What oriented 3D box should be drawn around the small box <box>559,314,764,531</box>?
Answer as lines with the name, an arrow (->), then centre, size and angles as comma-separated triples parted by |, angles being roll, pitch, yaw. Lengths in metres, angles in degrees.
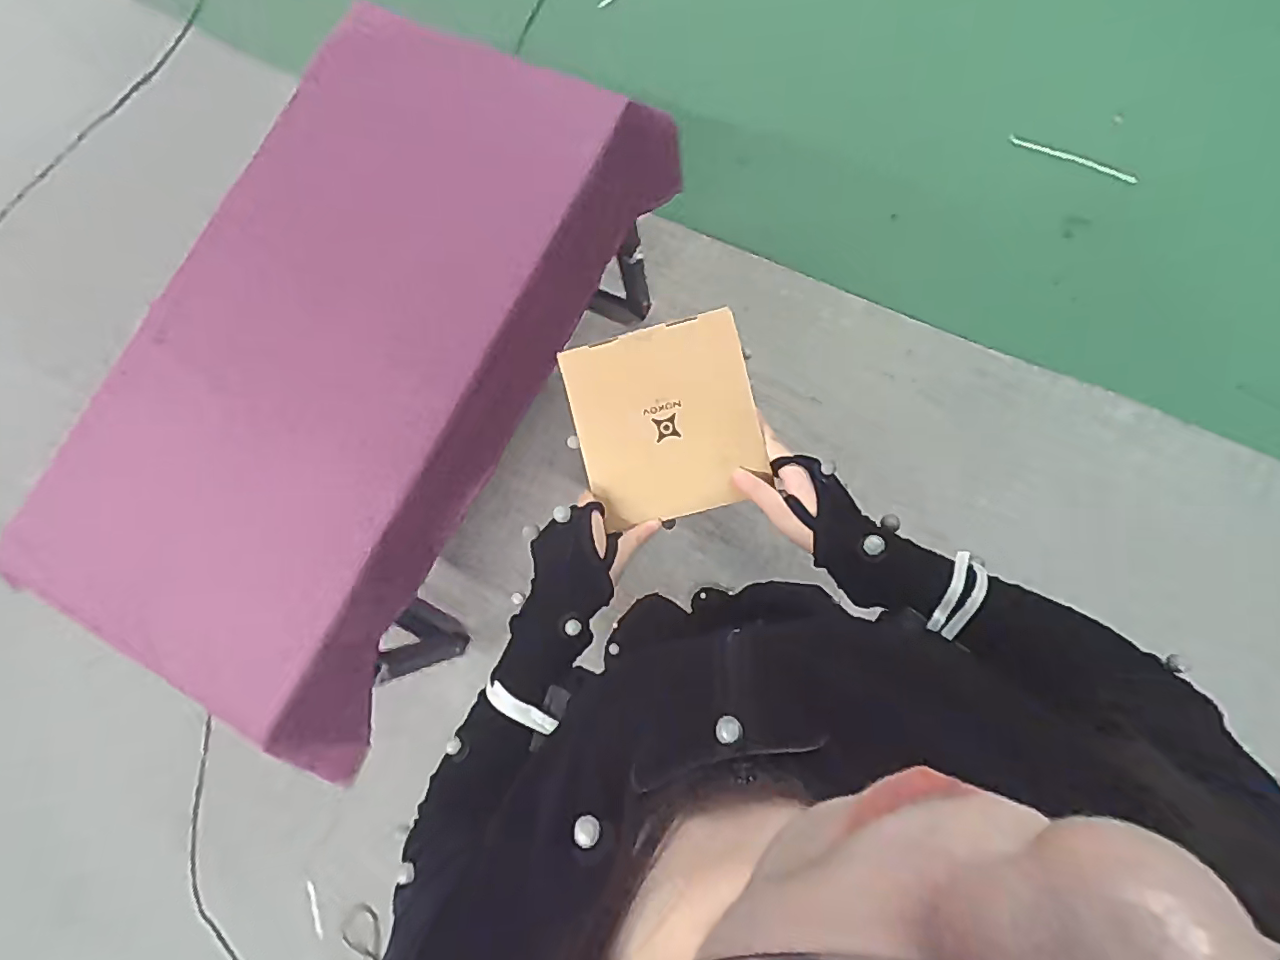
small box -> 0.027, -0.055, 0.585 | 0.168, 0.176, 0.179 | -13, 90, 5
